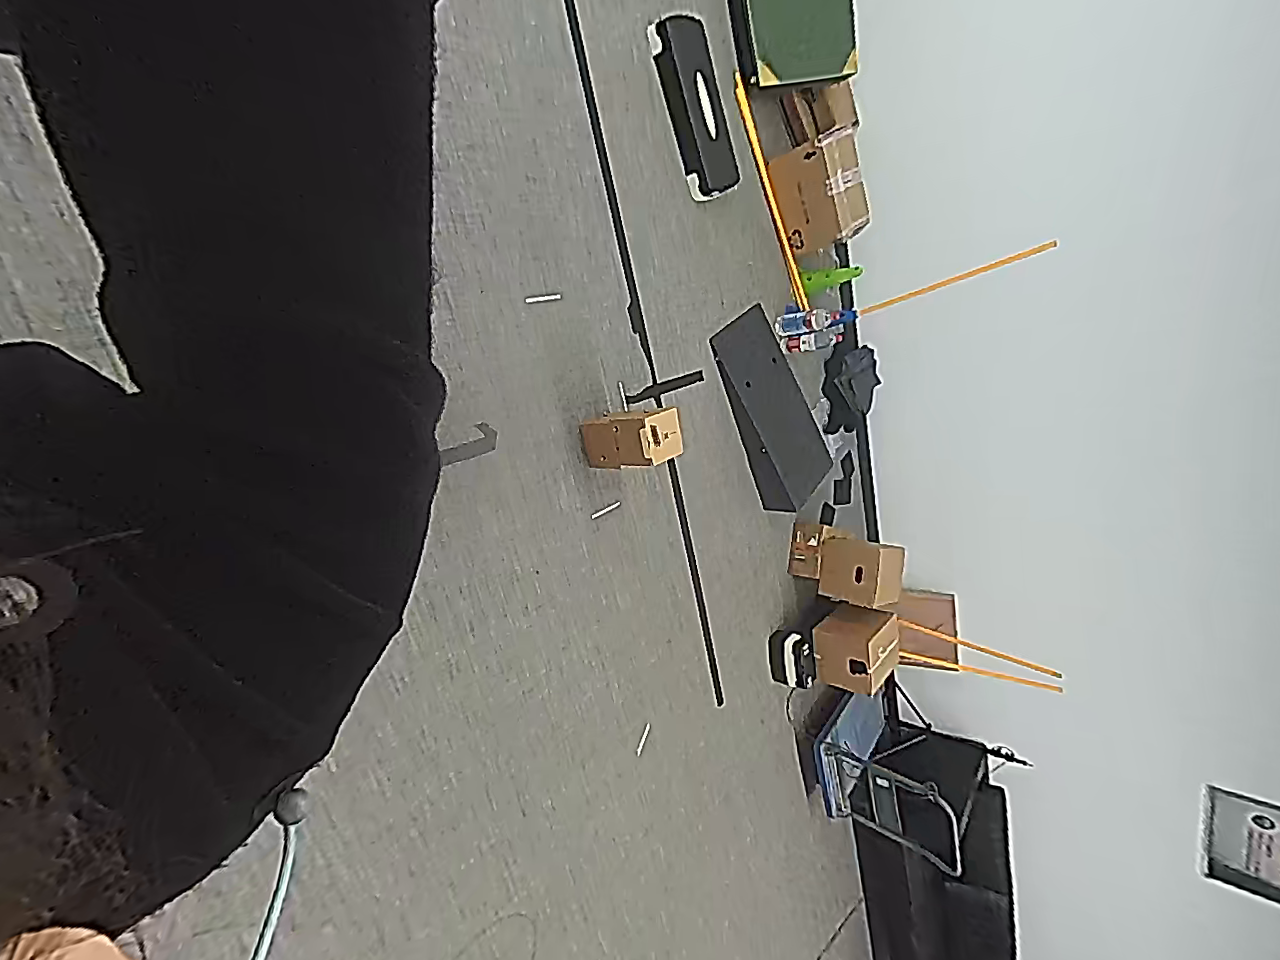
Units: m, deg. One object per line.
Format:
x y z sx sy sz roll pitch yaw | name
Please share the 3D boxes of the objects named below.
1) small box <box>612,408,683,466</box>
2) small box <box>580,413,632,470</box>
0.021 -0.147 1.870 0.179 0.176 0.168 -25 111 -44 | small box
-0.093 -0.145 1.988 0.168 0.176 0.179 -28 112 -42 | small box
